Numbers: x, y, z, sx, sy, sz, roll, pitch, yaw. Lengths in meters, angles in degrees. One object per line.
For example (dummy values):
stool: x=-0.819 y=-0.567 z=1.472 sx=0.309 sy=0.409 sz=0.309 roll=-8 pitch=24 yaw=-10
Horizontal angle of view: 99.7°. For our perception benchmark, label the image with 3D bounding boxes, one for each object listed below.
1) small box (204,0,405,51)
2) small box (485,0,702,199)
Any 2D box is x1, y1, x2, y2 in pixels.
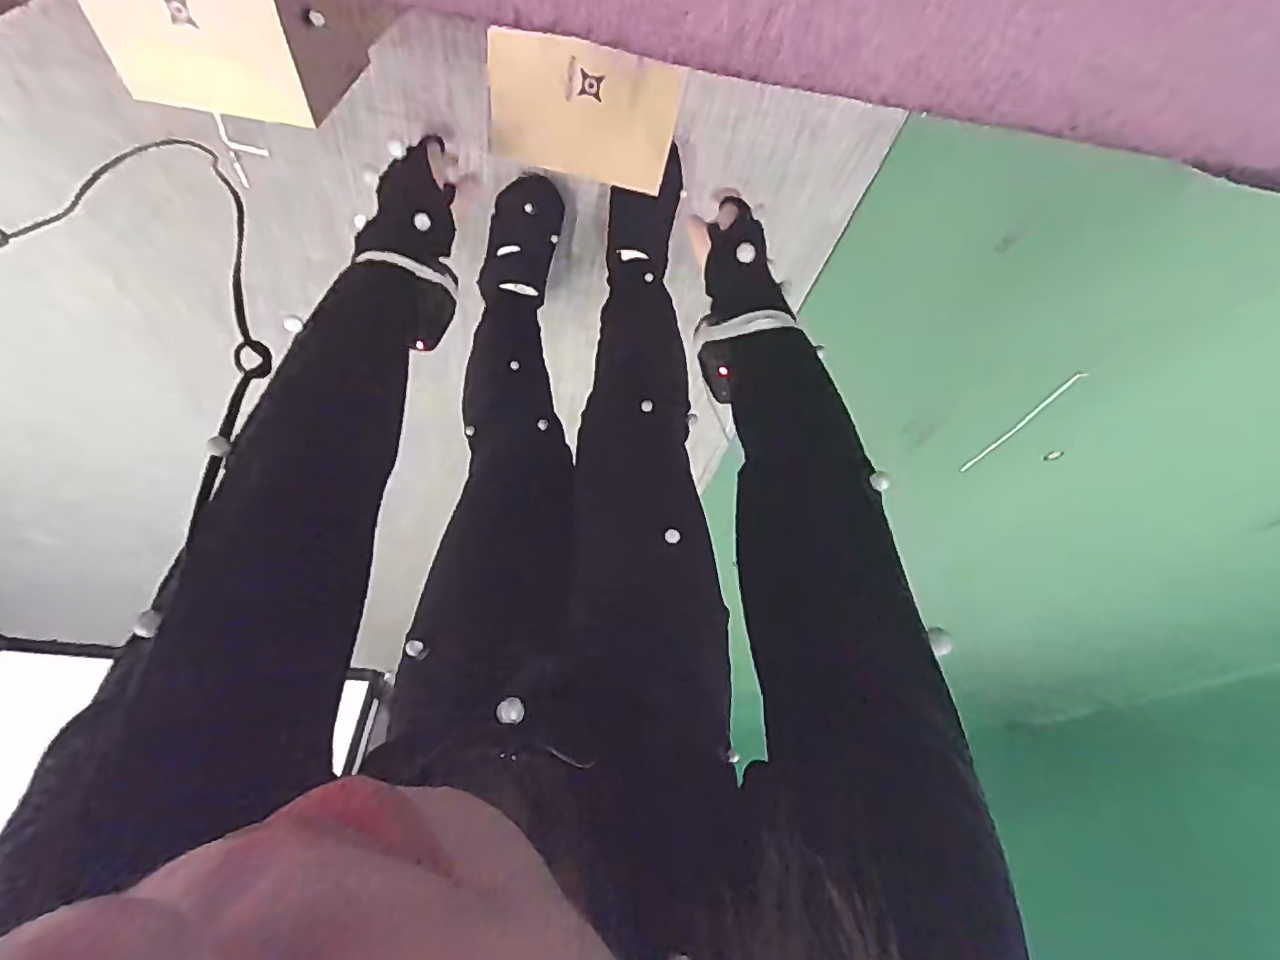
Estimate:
small box: x=-0.369 y=-0.609 z=0.584 sx=0.179 sy=0.176 sz=0.168 roll=8 pitch=146 yaw=-7
small box: x=-0.048 y=-0.422 z=0.537 sx=0.179 sy=0.176 sz=0.168 roll=10 pitch=147 yaw=-10
